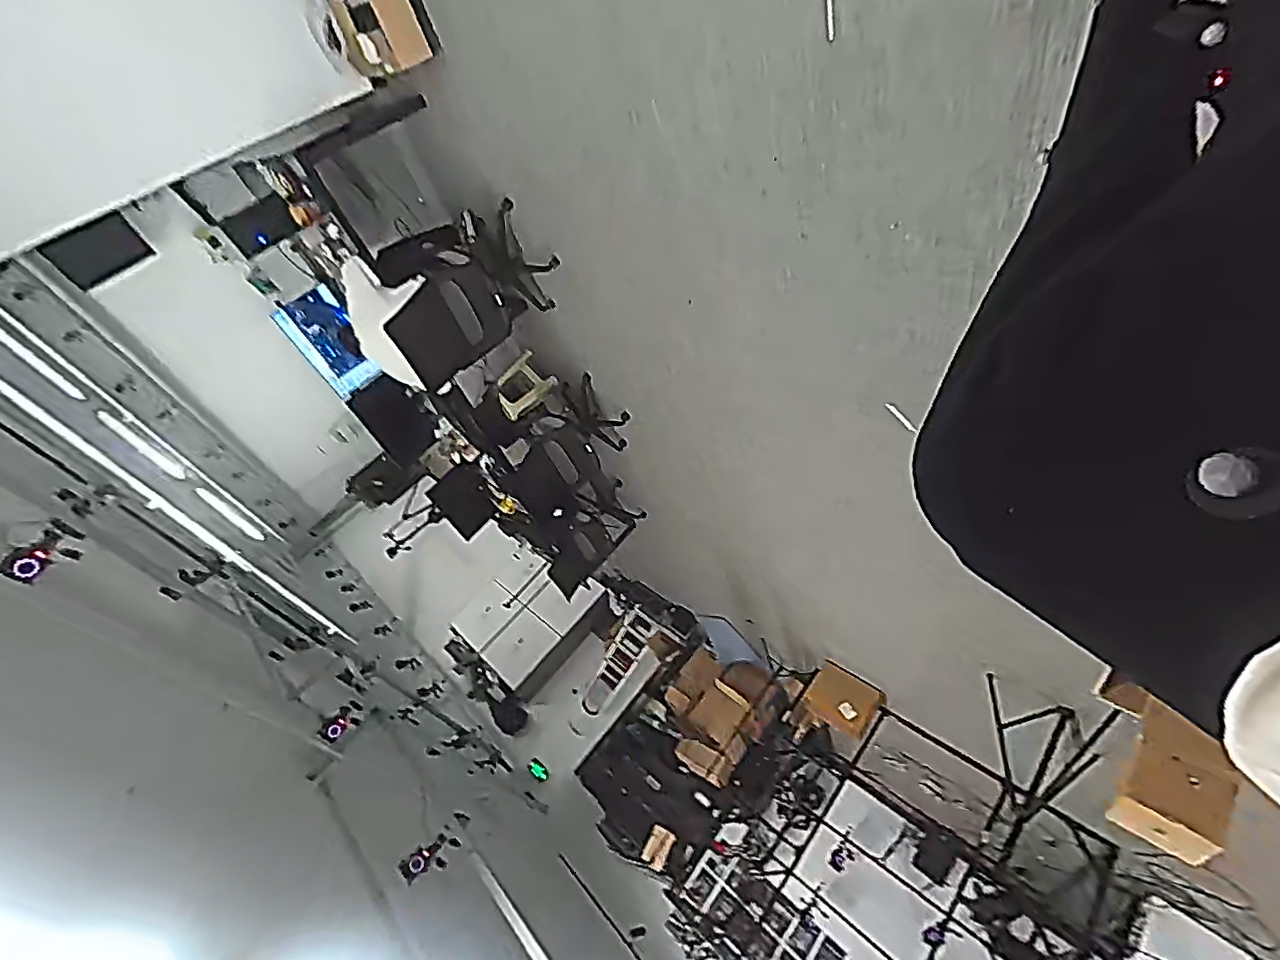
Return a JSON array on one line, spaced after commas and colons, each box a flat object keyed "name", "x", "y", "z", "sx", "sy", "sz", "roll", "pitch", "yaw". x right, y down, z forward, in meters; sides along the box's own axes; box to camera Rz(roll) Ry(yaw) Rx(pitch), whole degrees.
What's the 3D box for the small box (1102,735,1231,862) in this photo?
[{"name": "small box", "x": 1.231, "y": 0.741, "z": 1.268, "sx": 0.168, "sy": 0.176, "sz": 0.179, "roll": 23, "pitch": 149, "yaw": 41}]
